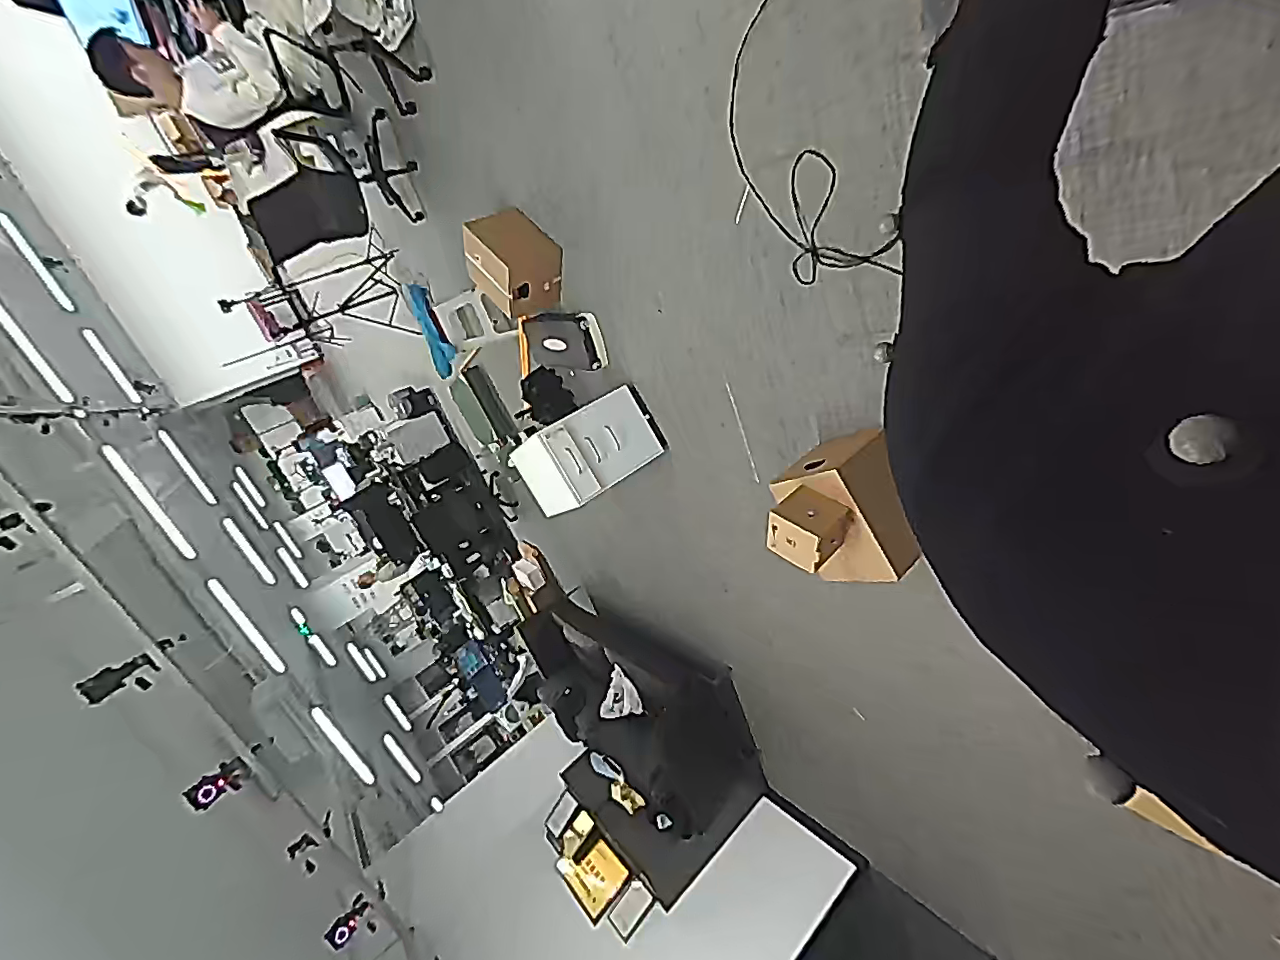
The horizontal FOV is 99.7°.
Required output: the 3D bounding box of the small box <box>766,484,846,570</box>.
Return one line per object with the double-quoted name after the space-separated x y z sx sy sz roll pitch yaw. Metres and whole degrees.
0.522 0.141 1.697 0.179 0.176 0.168 31 143 36 "small box"
